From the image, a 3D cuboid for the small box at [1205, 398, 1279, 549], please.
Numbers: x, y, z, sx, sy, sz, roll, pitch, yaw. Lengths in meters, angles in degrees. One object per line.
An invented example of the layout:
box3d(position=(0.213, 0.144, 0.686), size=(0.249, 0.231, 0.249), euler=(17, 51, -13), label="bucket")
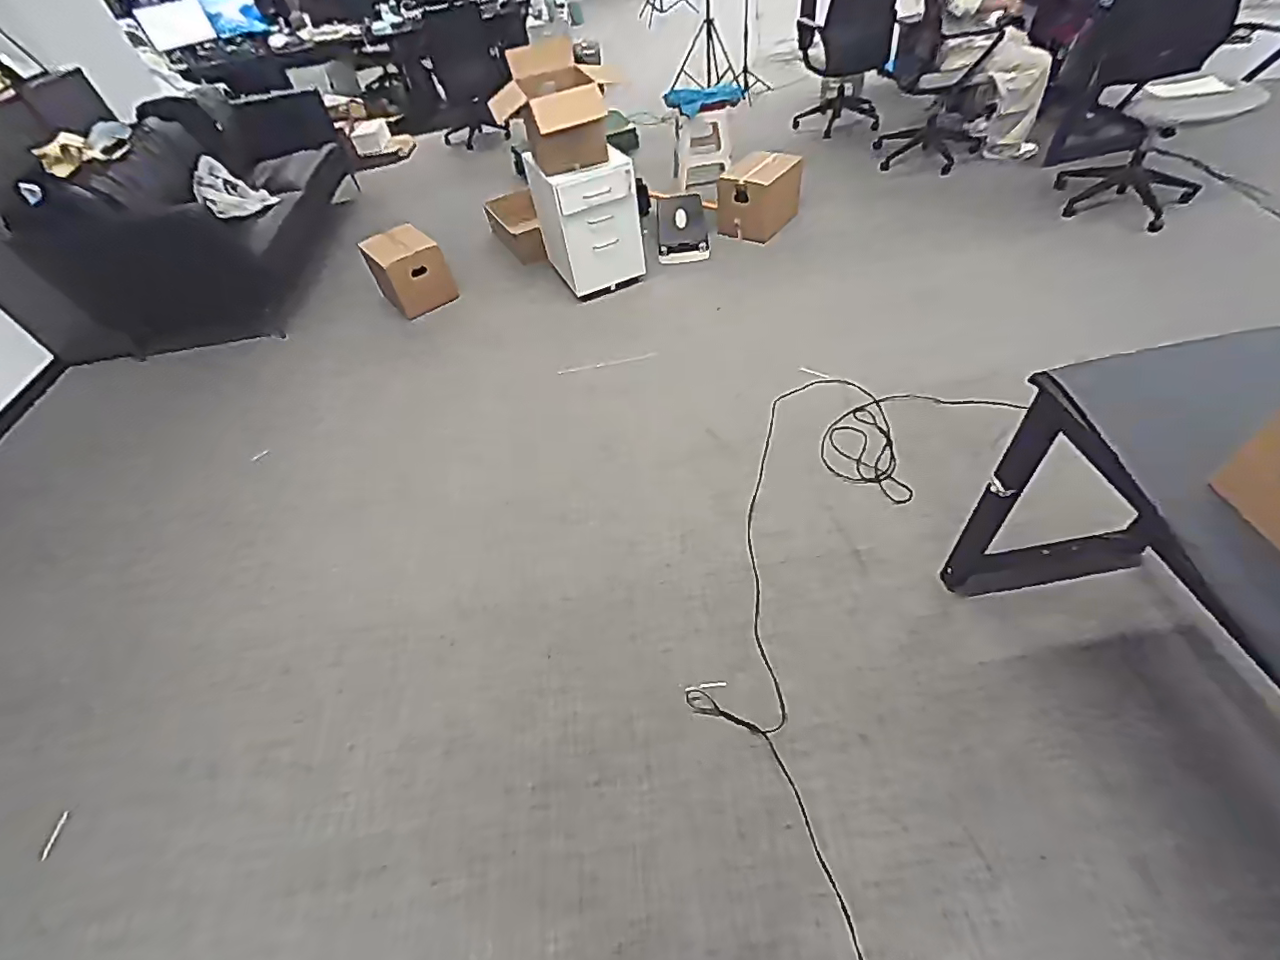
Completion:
box3d(position=(0.973, -0.007, 0.745), size=(0.168, 0.176, 0.179), euler=(-8, 48, 1), label="small box")
